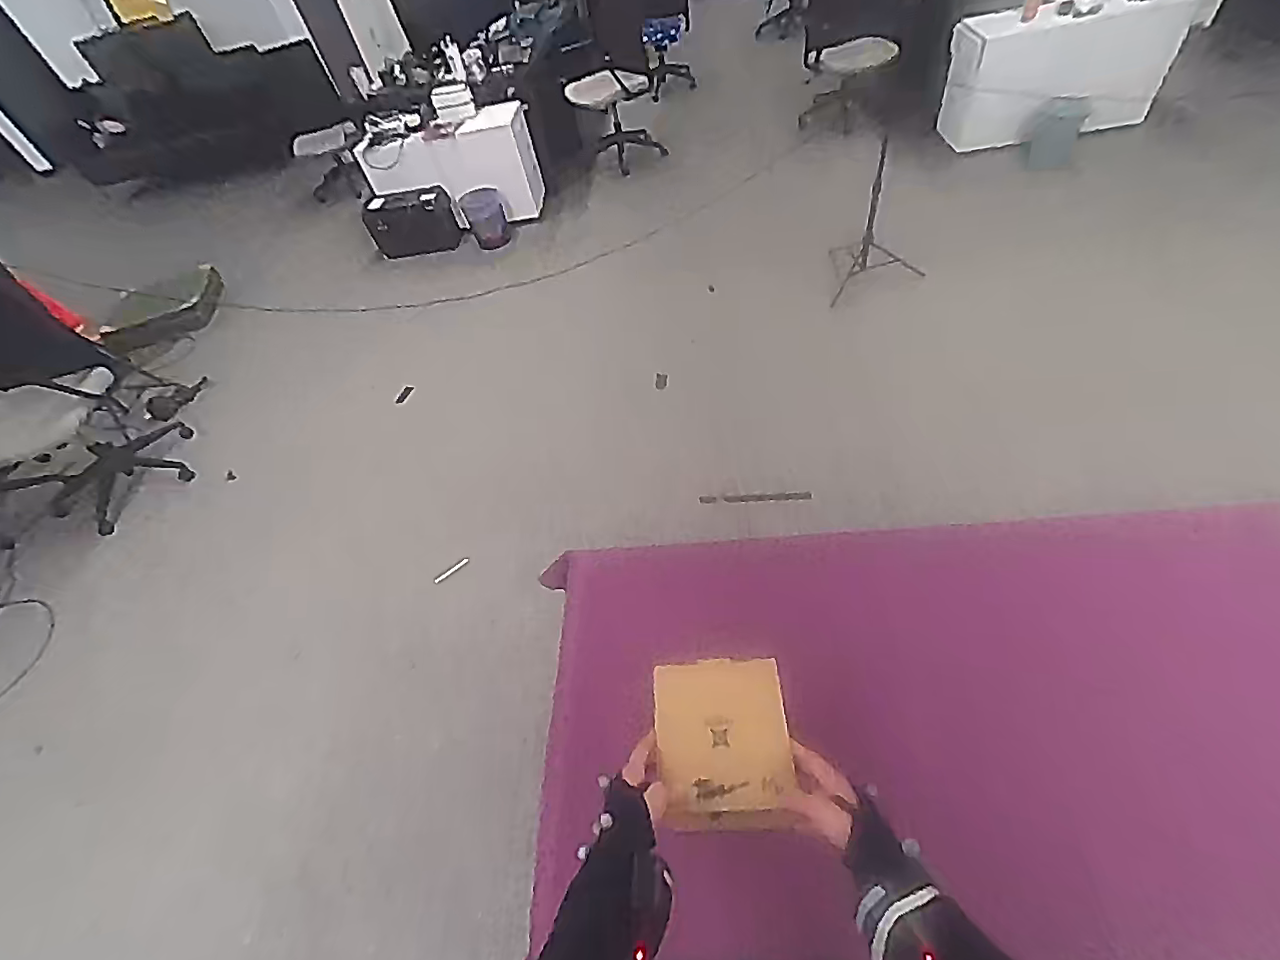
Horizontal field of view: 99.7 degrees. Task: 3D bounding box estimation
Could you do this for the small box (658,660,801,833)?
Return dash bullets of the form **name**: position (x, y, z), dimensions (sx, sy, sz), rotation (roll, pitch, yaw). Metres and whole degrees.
- **small box**: position (0.115, 0.365, 0.735), dimensions (0.168, 0.176, 0.179), rotation (-6, 50, 7)
